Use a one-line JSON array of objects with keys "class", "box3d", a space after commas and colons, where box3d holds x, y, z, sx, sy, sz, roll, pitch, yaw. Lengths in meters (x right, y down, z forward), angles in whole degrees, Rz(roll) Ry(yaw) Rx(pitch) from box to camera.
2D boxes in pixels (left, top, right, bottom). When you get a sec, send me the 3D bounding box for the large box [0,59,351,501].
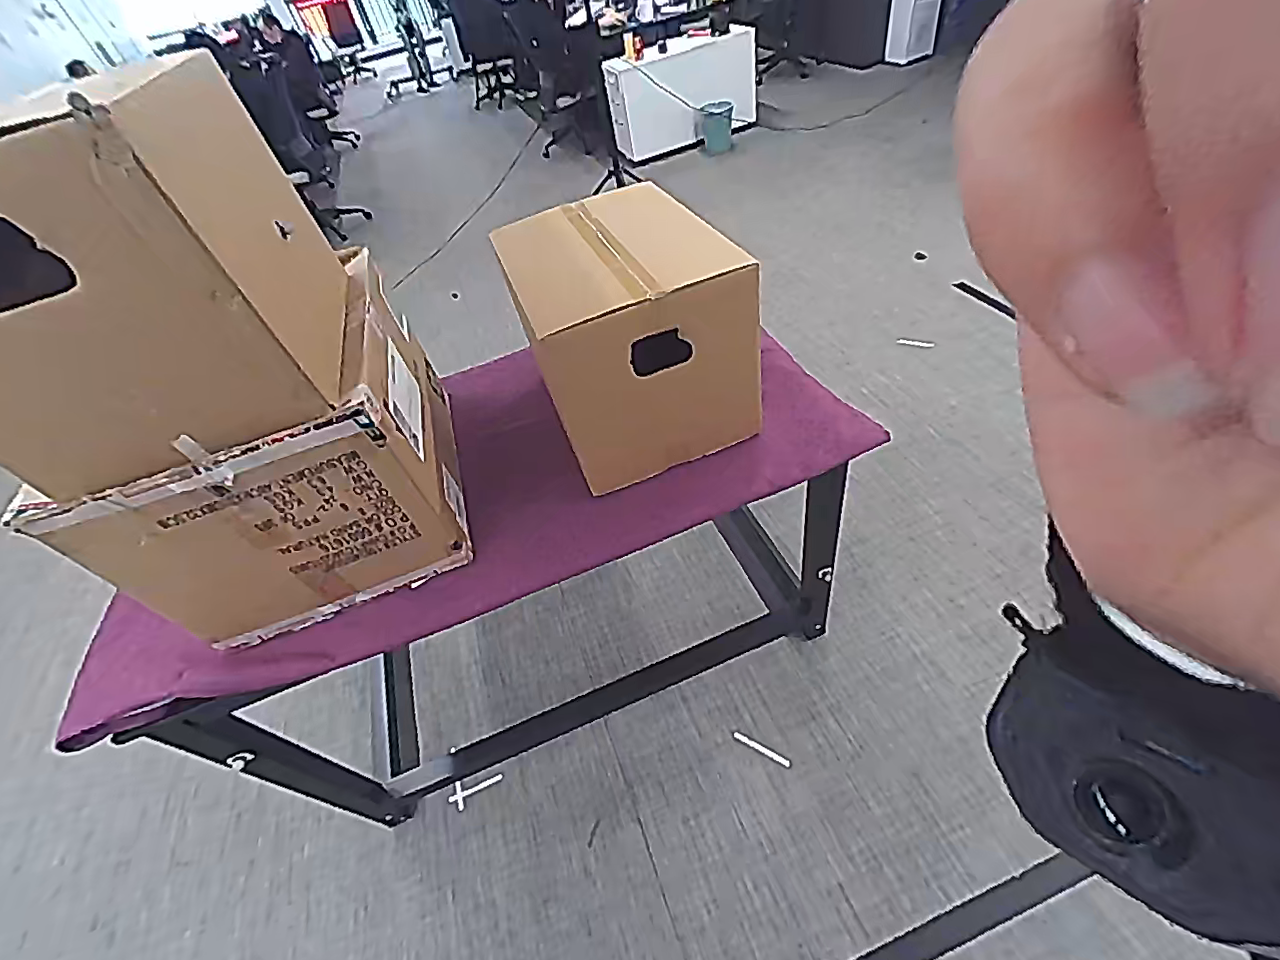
[{"class": "large box", "box3d": [-0.578, -0.253, 0.647, 0.320, 0.320, 0.408, -23, 47, -6]}]
